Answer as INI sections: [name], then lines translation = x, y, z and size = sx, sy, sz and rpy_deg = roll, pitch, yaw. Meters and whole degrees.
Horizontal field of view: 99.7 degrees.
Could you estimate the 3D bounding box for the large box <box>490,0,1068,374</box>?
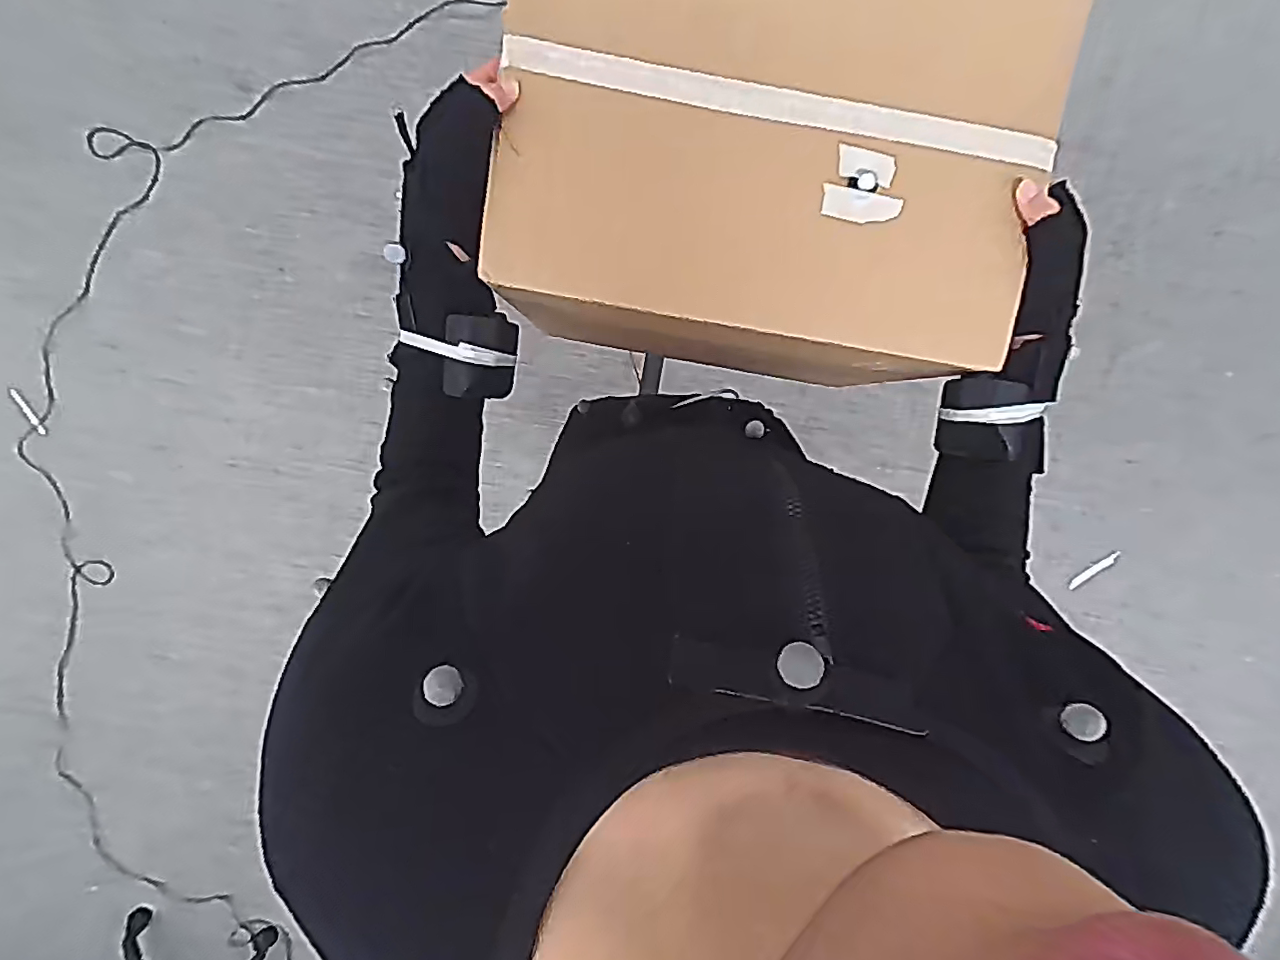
[large box]
translation = 0.095, -0.297, 0.547
size = 0.408, 0.320, 0.320
rpy_deg = 9, 98, -4
